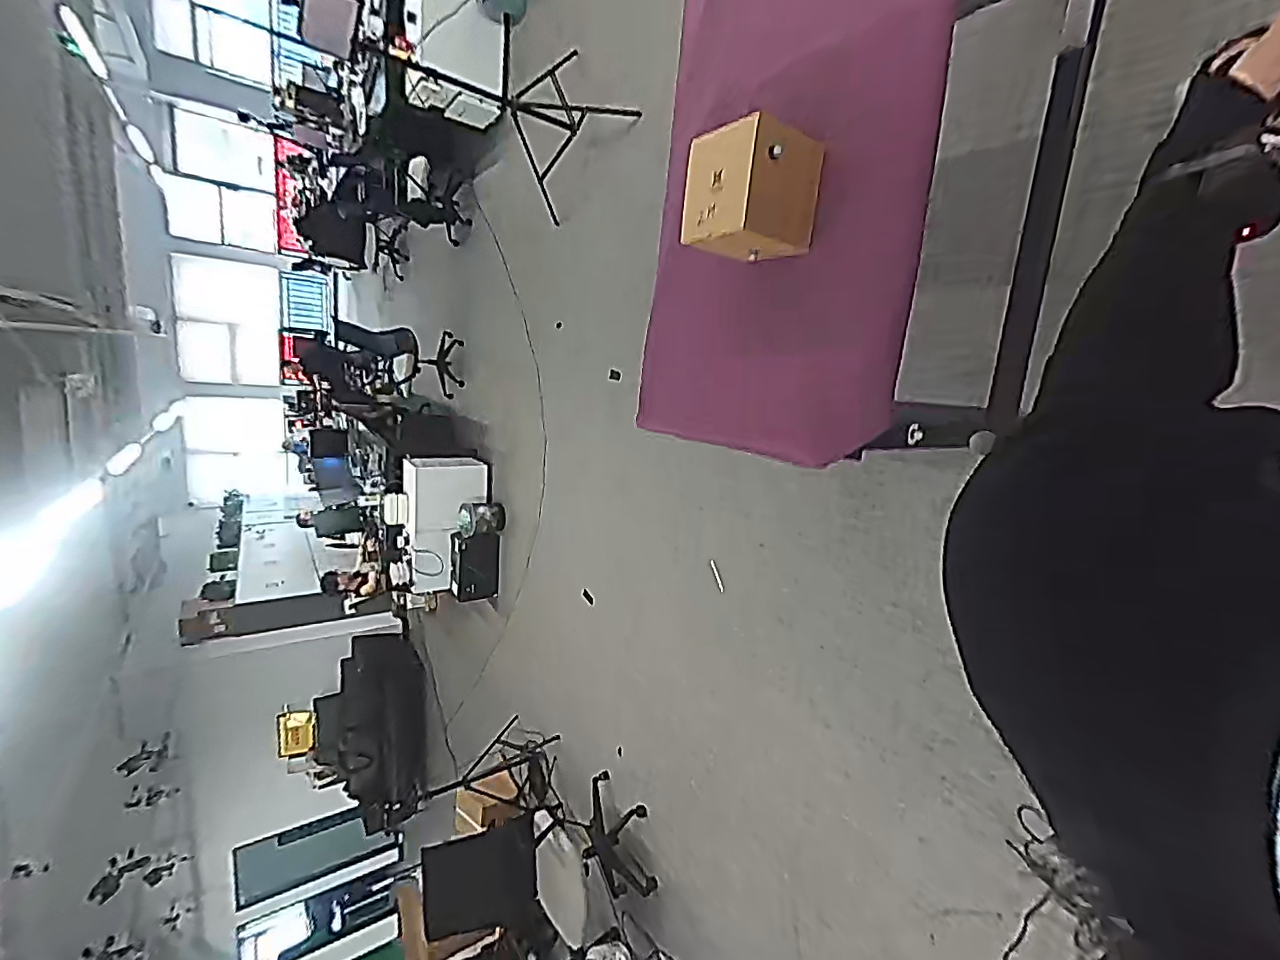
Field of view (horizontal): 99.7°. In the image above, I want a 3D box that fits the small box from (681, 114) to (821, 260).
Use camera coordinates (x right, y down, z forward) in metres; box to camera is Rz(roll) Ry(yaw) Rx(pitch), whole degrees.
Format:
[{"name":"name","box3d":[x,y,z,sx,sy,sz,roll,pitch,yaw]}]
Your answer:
[{"name":"small box","box3d":[0.197,-0.505,0.961,0.168,0.176,0.179,23,111,53]}]
